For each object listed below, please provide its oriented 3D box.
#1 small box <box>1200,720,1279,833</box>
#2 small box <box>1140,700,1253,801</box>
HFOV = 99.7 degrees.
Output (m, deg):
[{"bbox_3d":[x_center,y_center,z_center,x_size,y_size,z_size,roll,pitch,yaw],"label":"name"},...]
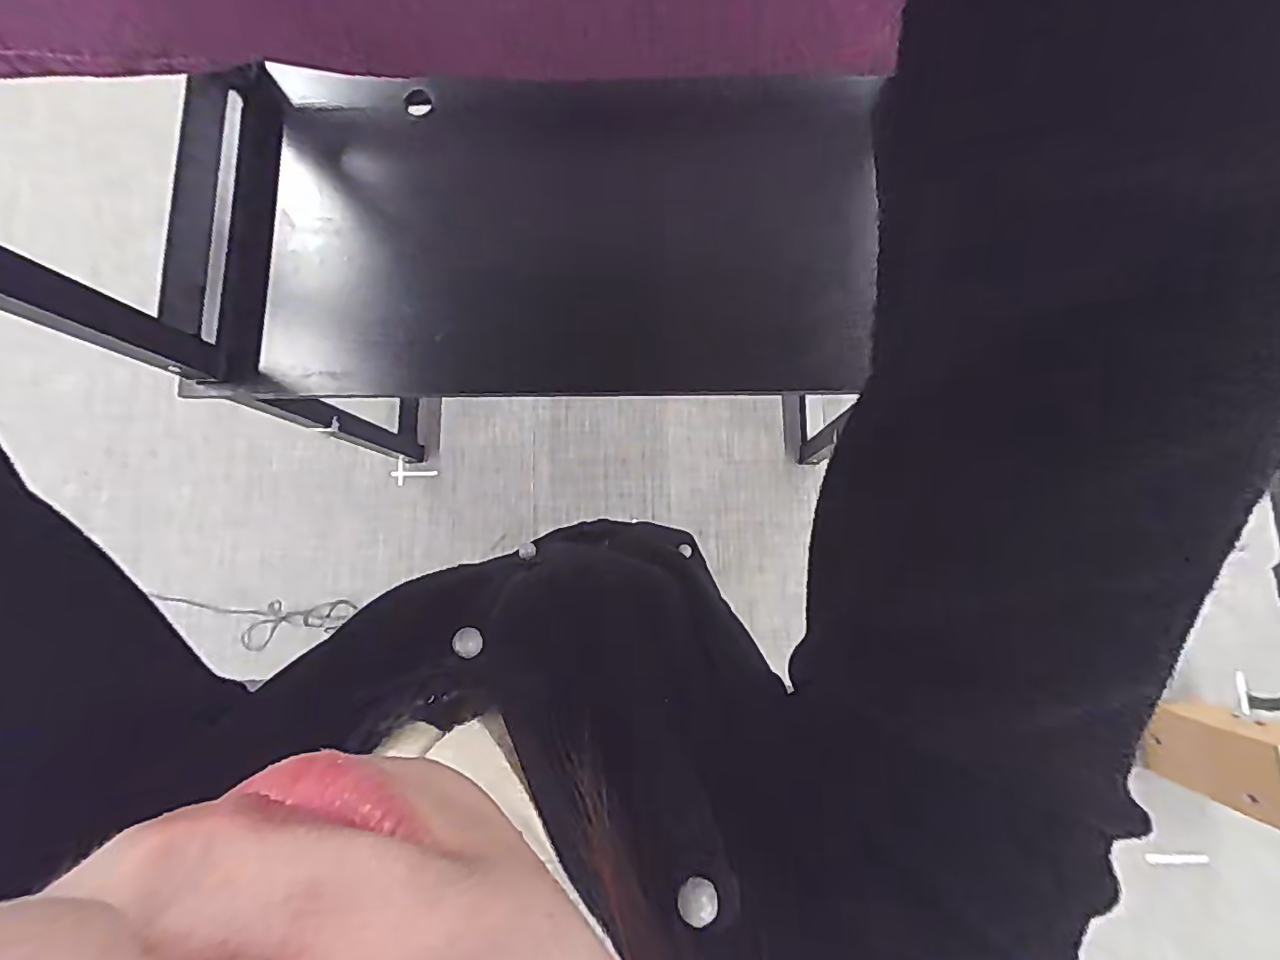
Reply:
[{"bbox_3d":[1.362,0.627,1.146,0.168,0.176,0.179,-3,82,2],"label":"small box"},{"bbox_3d":[1.371,0.649,1.309,0.168,0.176,0.179,-1,84,2],"label":"small box"}]
